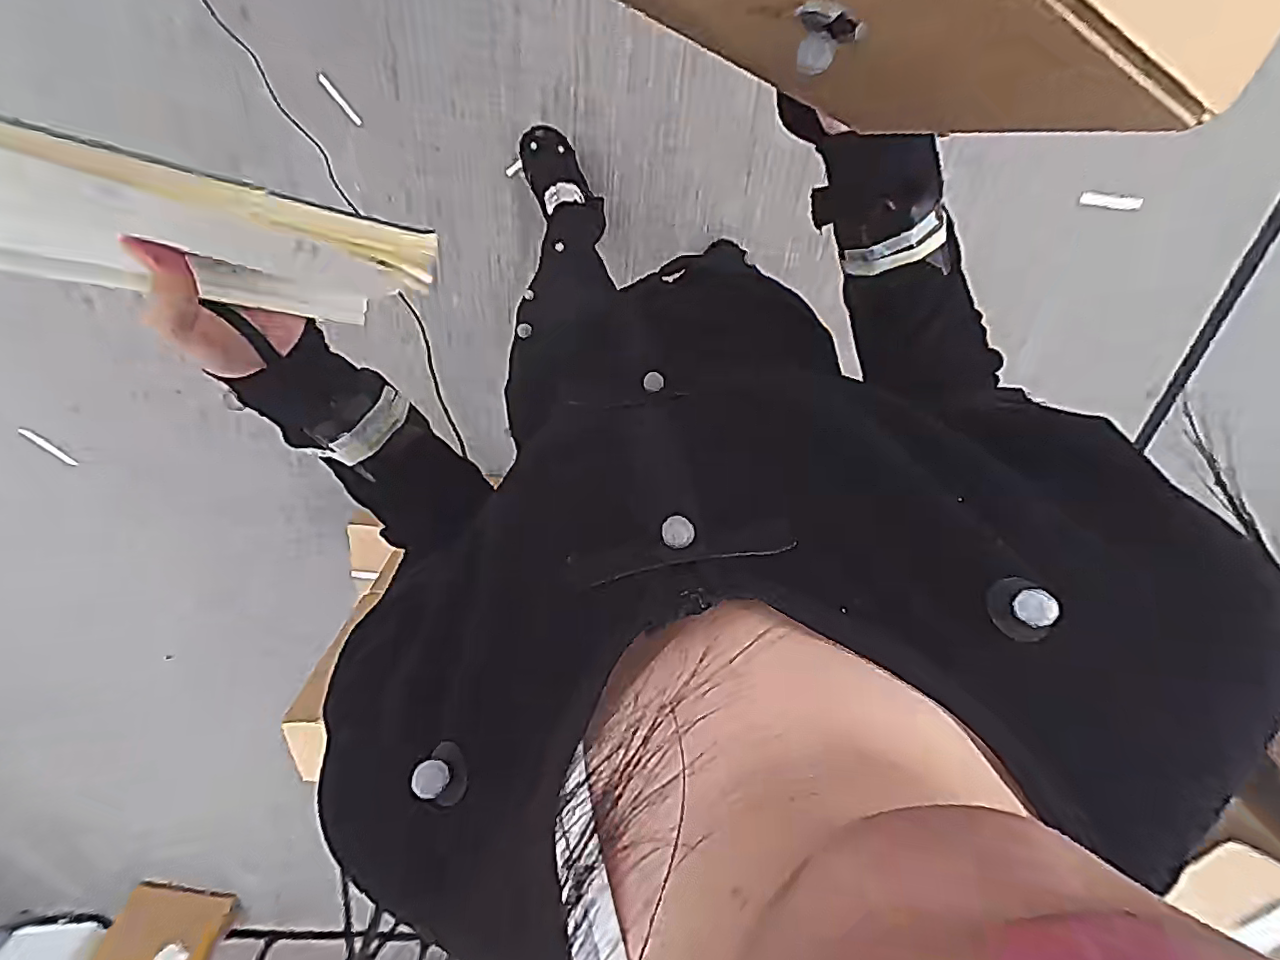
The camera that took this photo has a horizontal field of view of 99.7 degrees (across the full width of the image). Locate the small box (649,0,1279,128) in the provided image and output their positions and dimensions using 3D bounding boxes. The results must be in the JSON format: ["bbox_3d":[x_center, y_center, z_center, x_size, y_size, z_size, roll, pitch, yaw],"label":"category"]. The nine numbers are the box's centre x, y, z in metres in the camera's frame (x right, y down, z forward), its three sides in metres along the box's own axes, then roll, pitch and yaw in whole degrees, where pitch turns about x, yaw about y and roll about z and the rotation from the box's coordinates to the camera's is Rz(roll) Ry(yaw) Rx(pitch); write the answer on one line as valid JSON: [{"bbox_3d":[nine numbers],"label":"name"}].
[{"bbox_3d":[0.092,-0.225,0.151,0.179,0.176,0.168,9,117,-24],"label":"small box"}]

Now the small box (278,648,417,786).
[{"bbox_3d":[-0.539,0.448,1.027,0.168,0.176,0.179,4,120,-4],"label":"small box"}]
